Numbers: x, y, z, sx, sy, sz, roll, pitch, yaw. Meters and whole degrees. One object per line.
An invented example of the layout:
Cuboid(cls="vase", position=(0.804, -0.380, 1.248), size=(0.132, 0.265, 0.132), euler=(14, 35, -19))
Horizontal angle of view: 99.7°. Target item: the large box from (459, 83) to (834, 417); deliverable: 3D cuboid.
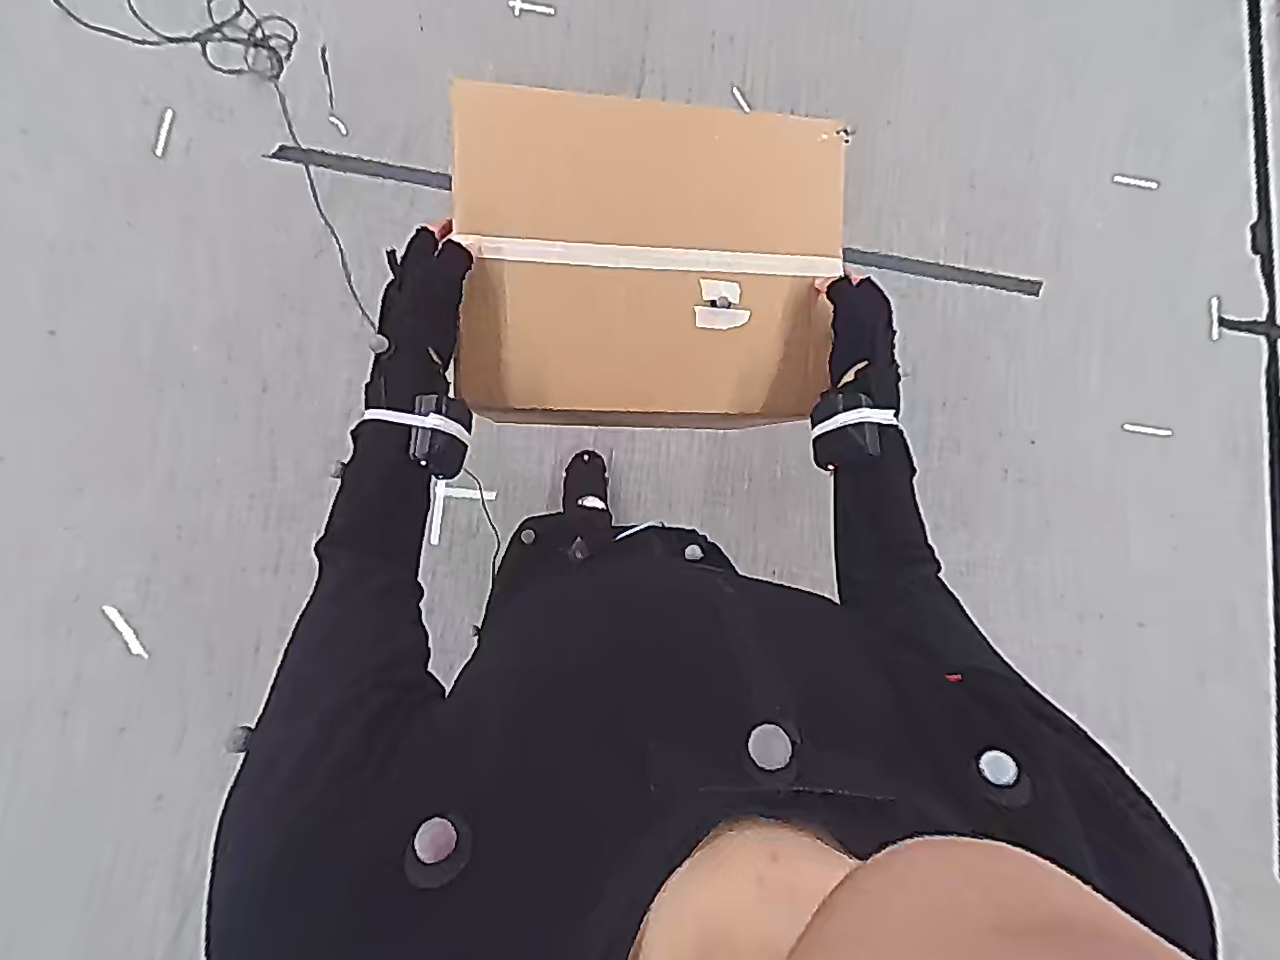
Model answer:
Cuboid(cls="large box", position=(-0.007, -0.248, 0.716), size=(0.408, 0.320, 0.320), euler=(0, 94, -9))
